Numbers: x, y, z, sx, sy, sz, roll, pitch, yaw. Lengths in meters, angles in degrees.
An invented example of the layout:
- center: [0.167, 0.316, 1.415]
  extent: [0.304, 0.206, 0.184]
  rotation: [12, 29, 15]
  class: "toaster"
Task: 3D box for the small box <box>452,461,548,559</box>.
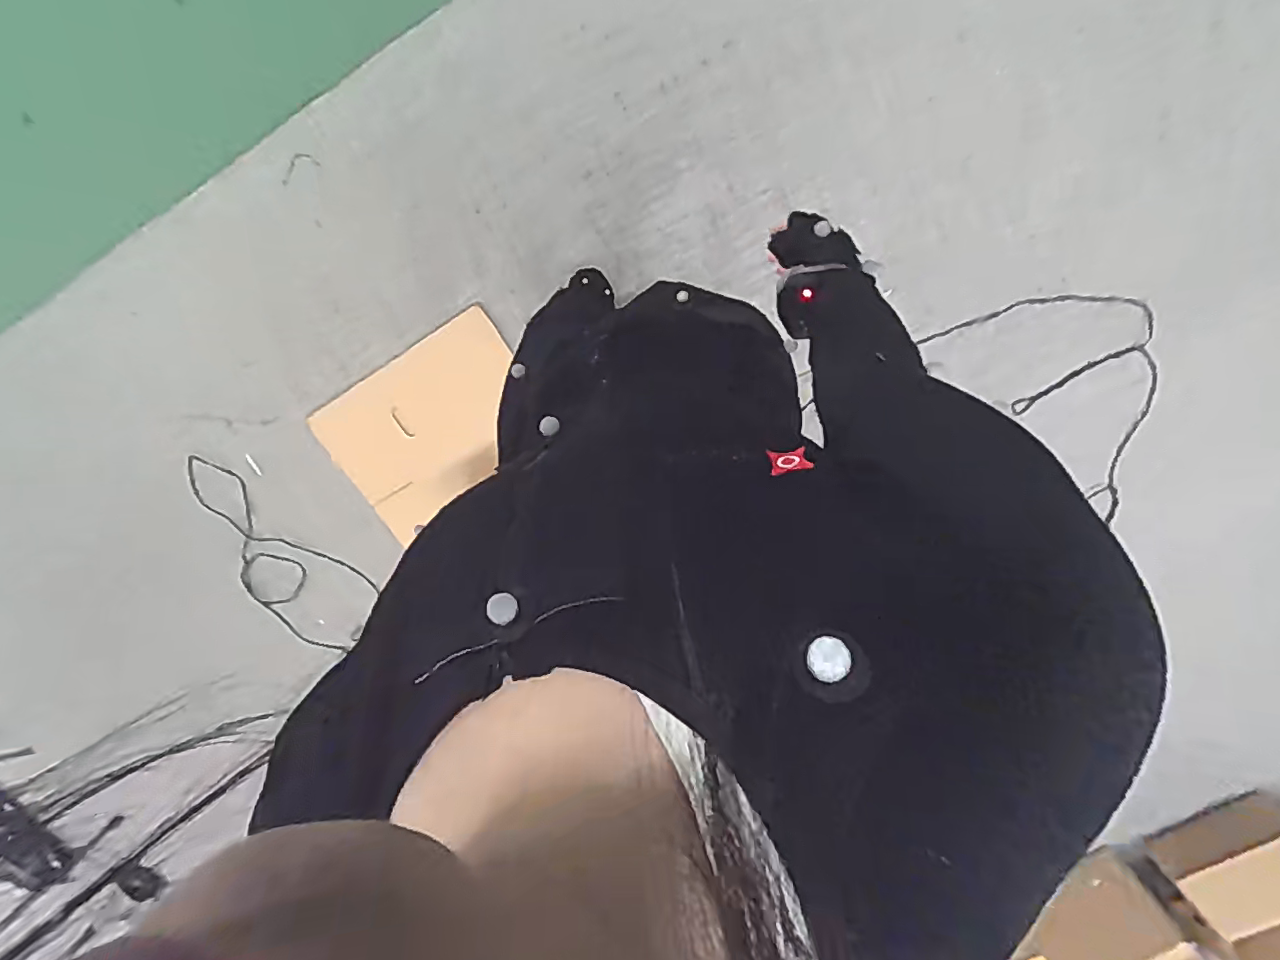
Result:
- center: [-0.365, 0.074, 1.459]
  extent: [0.179, 0.176, 0.168]
  rotation: [-33, 106, 14]
  class: "small box"
